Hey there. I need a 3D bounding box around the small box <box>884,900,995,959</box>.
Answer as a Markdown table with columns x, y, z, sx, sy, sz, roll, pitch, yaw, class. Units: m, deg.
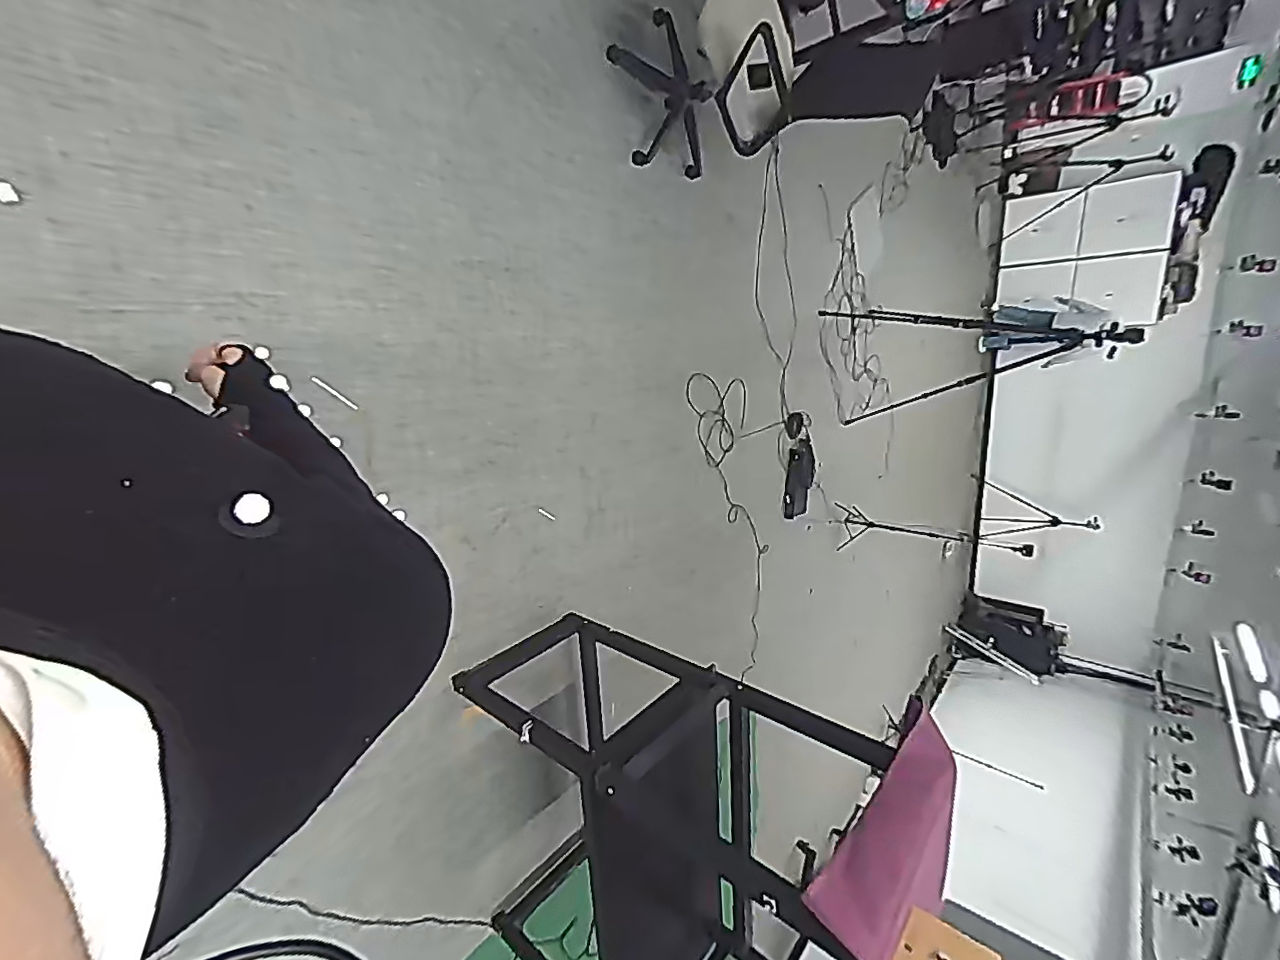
| x | y | z | sx | sy | sz | roll | pitch | yaw | class |
| --- | --- | --- | --- | --- | --- | --- | --- | --- | --- |
| 0.599 | 1.007 | 1.094 | 0.168 | 0.176 | 0.179 | -15 | 109 | -47 | small box |
